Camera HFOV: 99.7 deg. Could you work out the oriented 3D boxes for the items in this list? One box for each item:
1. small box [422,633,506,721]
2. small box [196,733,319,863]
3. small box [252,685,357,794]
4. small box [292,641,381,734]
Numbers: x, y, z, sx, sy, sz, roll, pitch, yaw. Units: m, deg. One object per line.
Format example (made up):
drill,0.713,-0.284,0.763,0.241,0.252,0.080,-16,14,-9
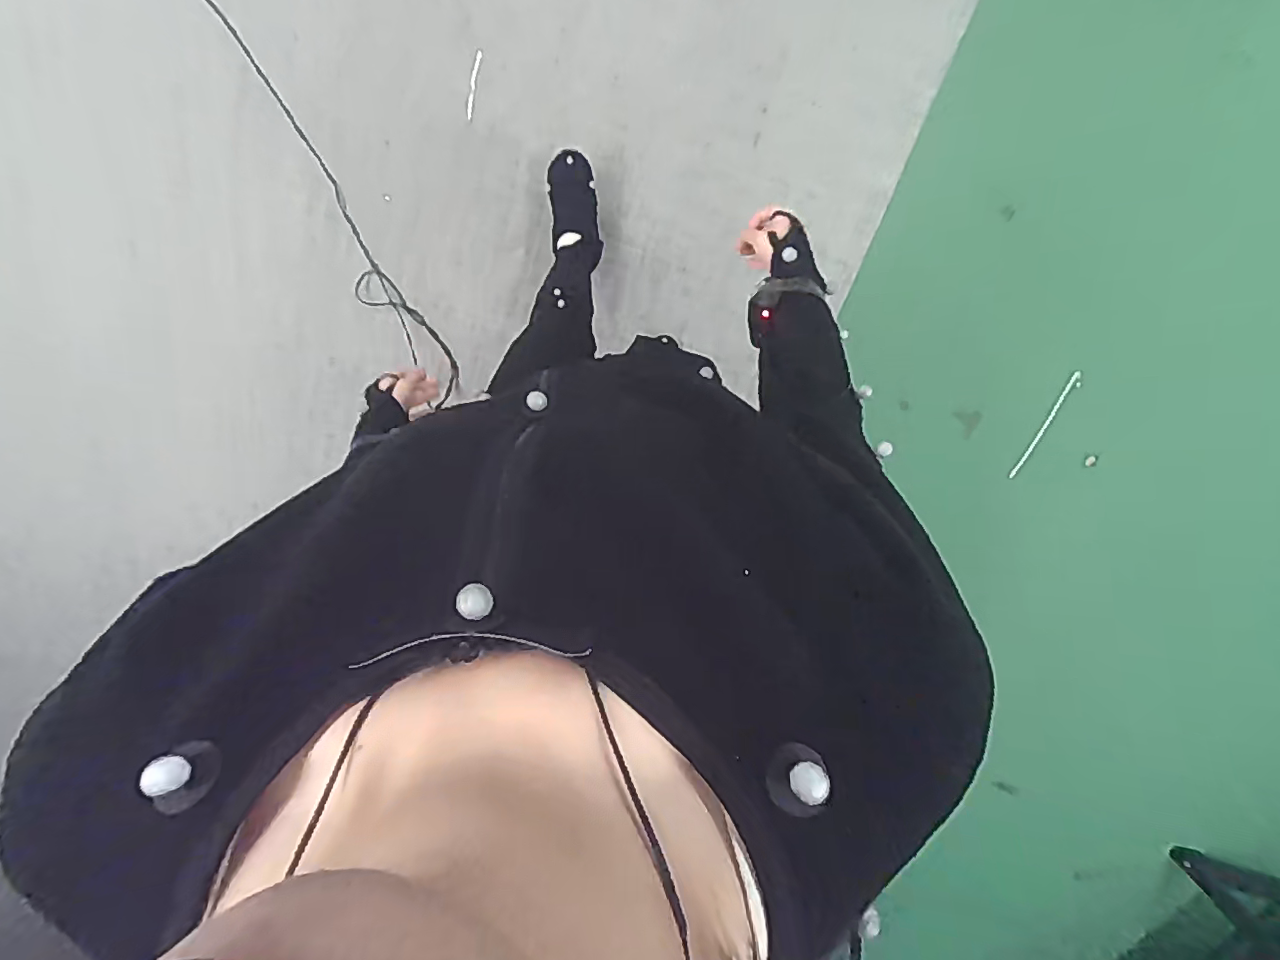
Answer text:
small box,-0.550,0.614,1.708,0.179,0.176,0.168,28,109,-10
small box,-0.854,0.712,1.221,0.168,0.176,0.179,15,111,-5
small box,-0.849,0.653,1.375,0.179,0.176,0.168,16,111,-5
small box,-0.853,0.586,1.525,0.168,0.176,0.179,15,110,-4
